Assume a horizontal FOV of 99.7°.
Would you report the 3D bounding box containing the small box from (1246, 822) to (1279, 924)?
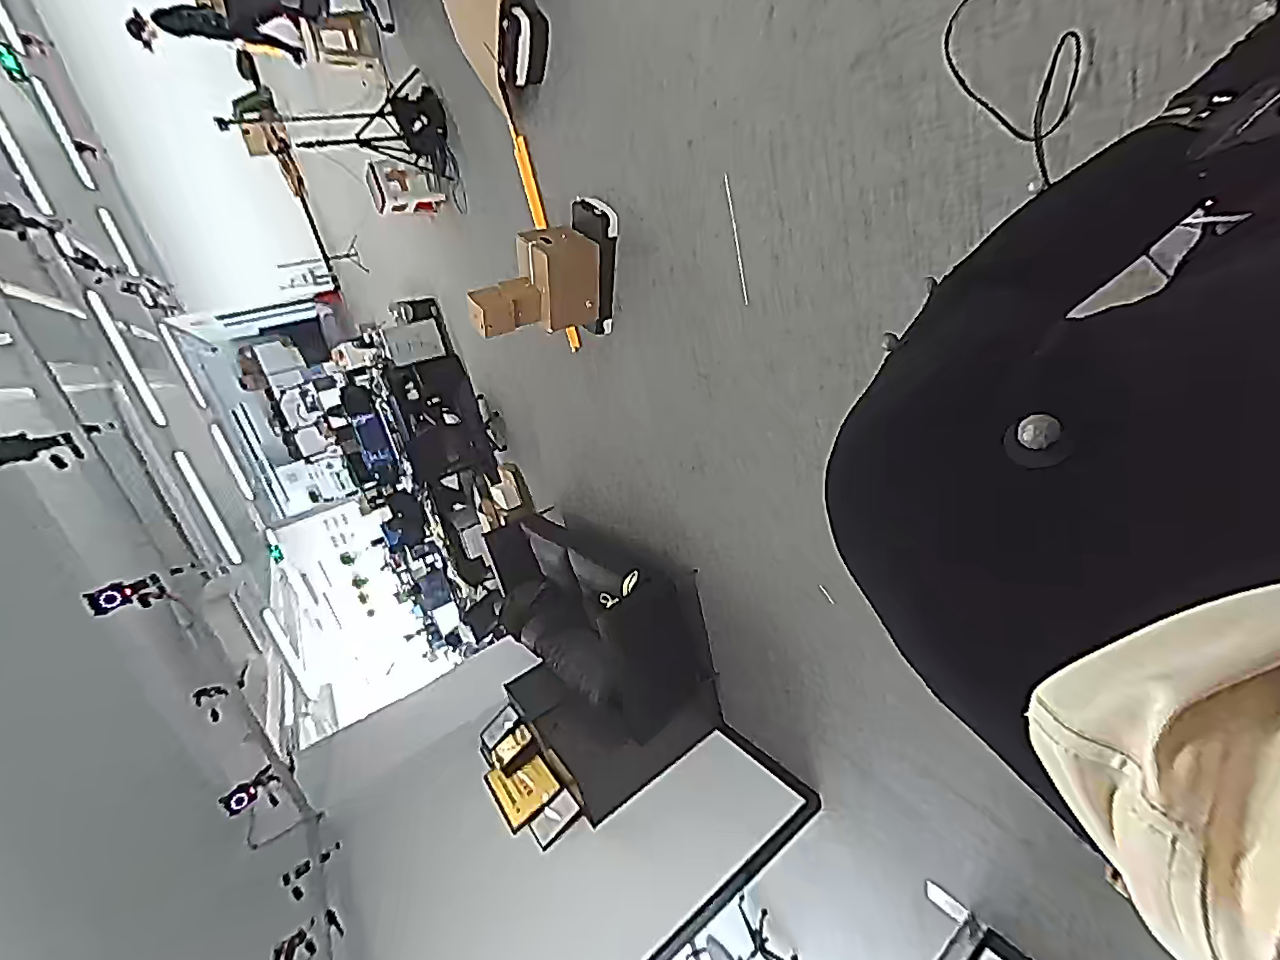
[{"bbox_3d":[1.196,0.684,0.920,0.168,0.176,0.179,25,132,53],"label":"small box"}]
